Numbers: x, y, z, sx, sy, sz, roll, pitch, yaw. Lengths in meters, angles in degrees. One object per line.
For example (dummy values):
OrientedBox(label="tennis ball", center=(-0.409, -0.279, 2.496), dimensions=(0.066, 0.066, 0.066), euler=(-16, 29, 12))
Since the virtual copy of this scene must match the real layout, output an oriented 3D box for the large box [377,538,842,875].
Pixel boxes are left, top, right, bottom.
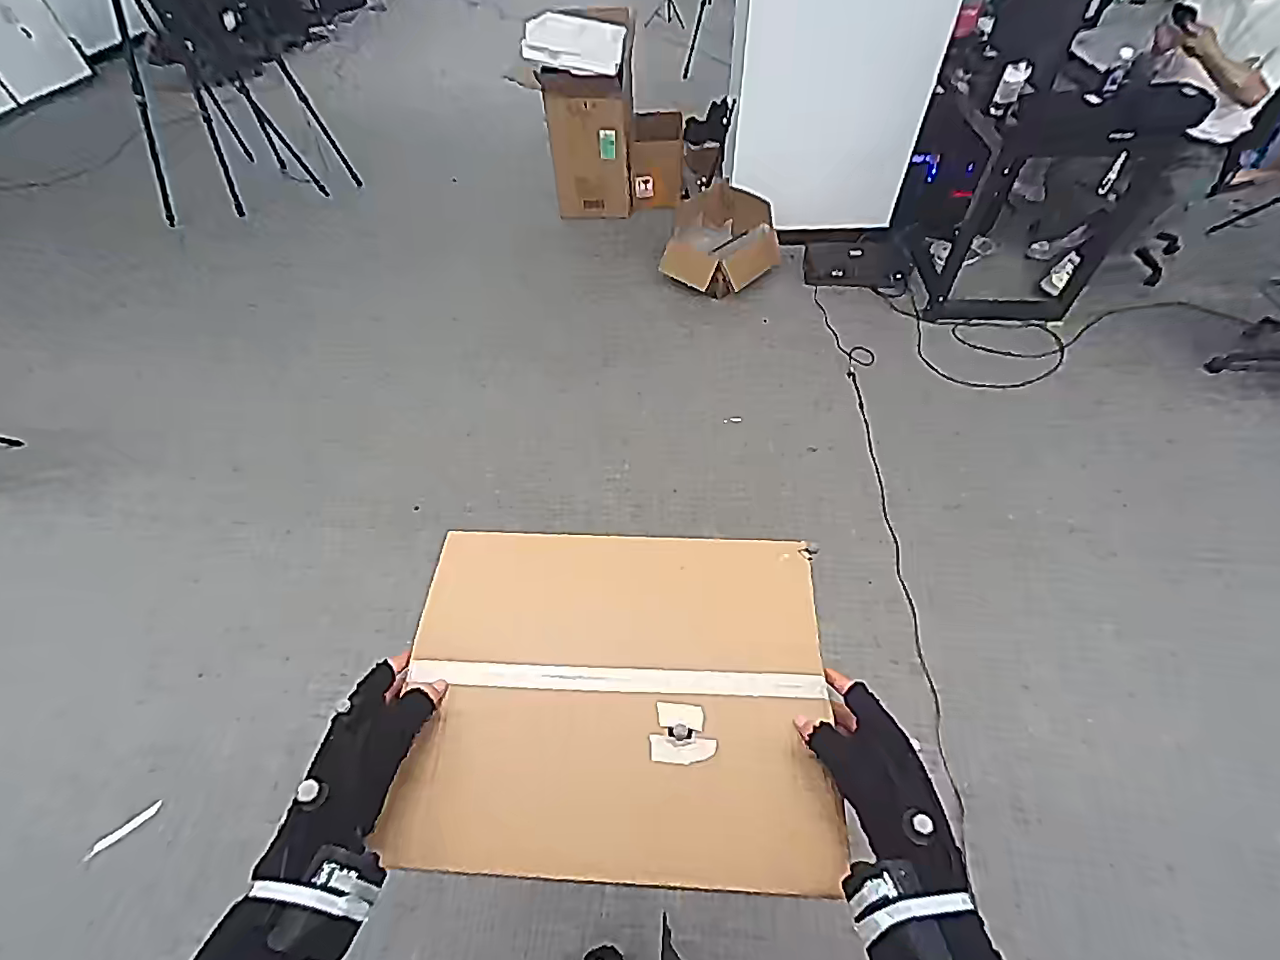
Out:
OrientedBox(label="large box", center=(-0.022, 0.281, 0.660), dimensions=(0.408, 0.320, 0.320), euler=(1, 56, 3))
